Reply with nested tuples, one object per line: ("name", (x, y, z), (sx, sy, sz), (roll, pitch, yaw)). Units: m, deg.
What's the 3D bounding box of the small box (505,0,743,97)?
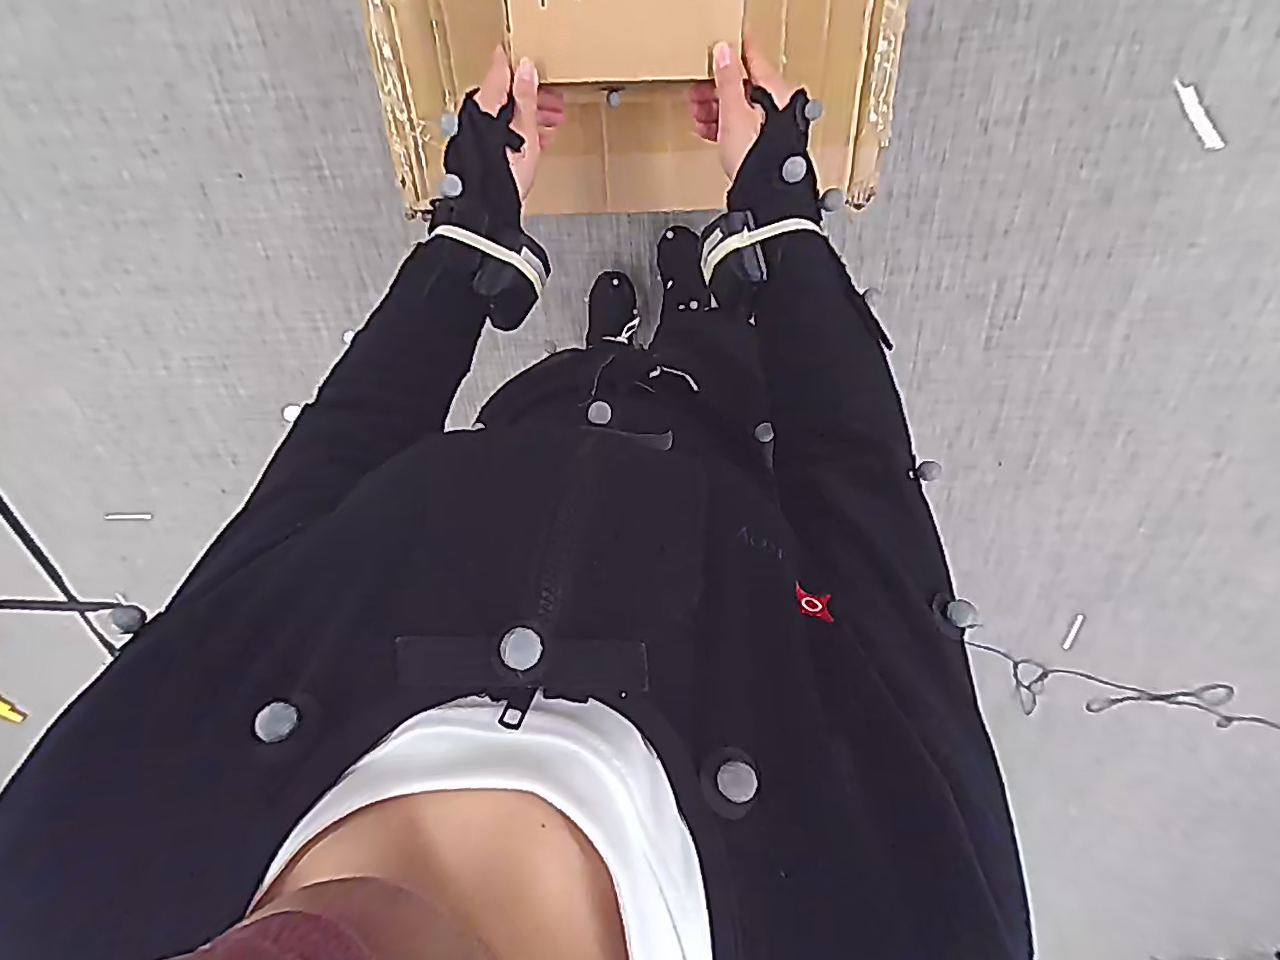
("small box", (-0.007, -0.419, 0.437), (0.179, 0.176, 0.168), (1, 120, 4))
